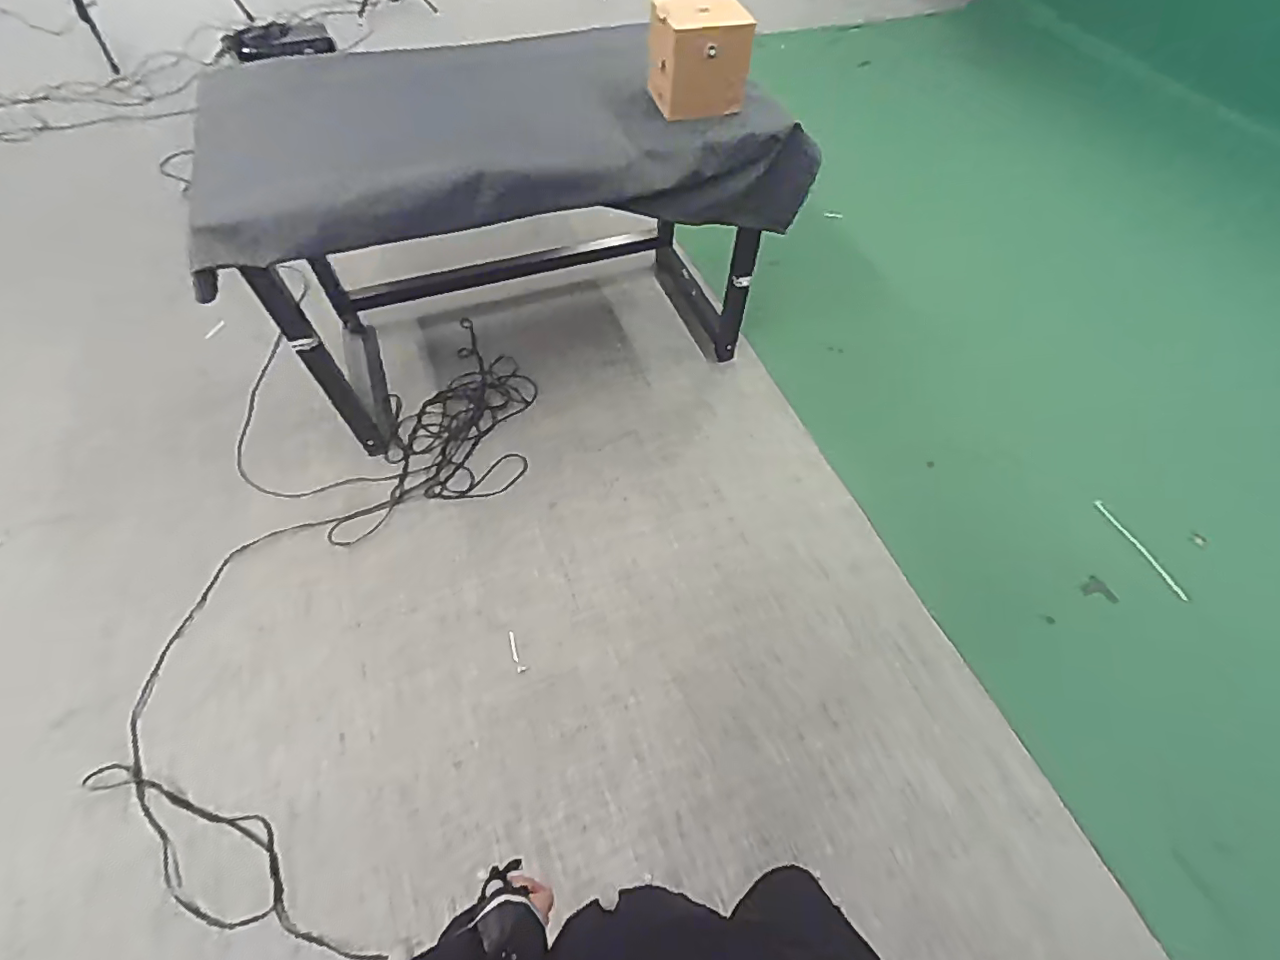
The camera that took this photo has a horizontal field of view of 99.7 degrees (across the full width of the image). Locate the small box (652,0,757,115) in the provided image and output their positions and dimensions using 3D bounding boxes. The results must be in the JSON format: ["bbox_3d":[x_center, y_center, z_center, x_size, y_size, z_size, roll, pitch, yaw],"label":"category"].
[{"bbox_3d":[0.128,-0.912,1.158,0.179,0.176,0.168,-12,60,-10],"label":"small box"}]
